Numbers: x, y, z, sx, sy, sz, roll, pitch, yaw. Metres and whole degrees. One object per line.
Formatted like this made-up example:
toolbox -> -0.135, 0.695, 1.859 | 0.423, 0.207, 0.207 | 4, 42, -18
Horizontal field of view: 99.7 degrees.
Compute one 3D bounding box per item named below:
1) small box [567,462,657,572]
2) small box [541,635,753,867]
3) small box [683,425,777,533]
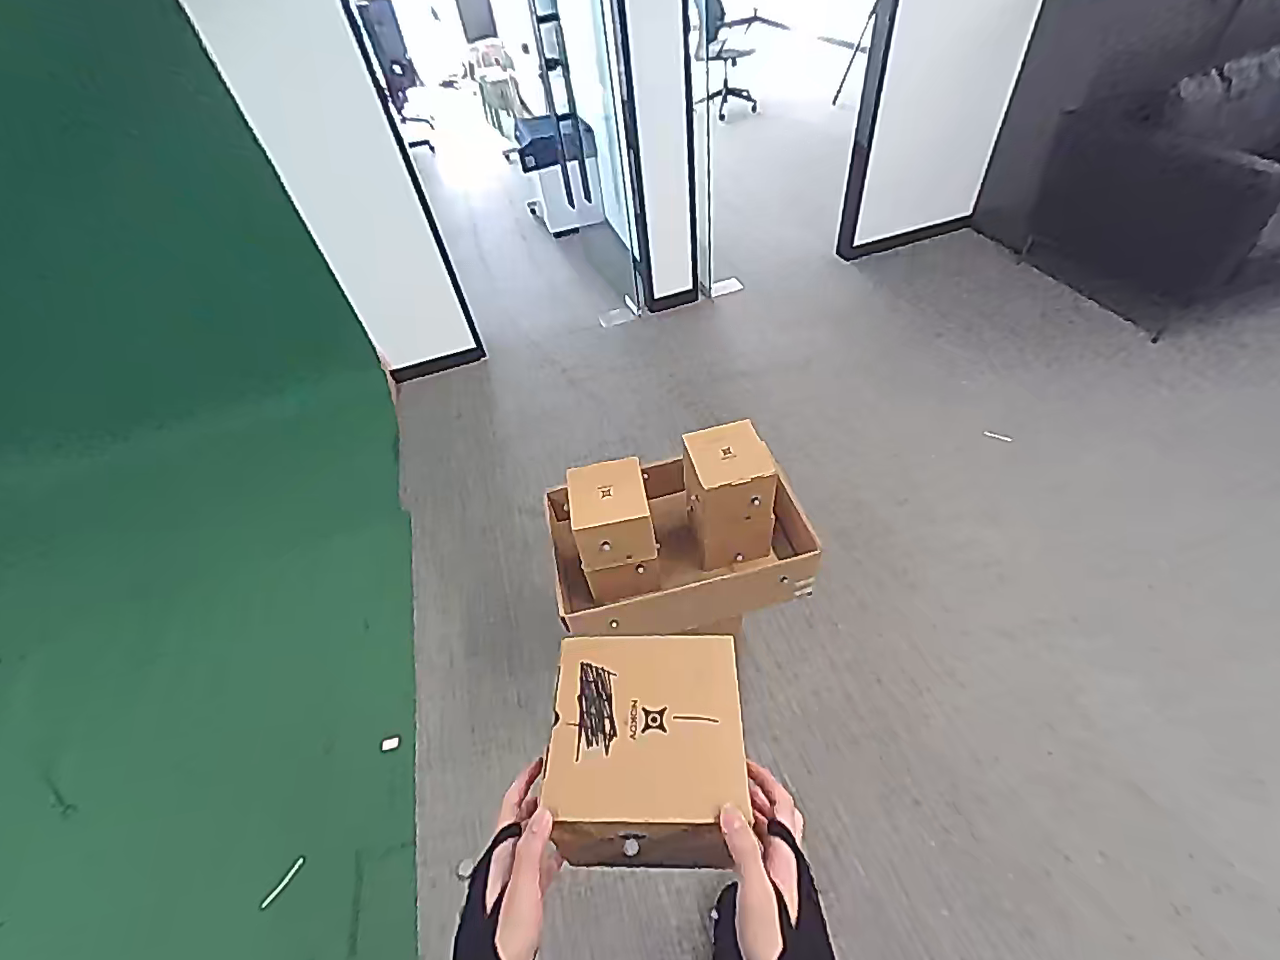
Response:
small box -> -0.061, 0.090, 1.213 | 0.168, 0.176, 0.179 | -11, 47, -2
small box -> 0.014, 0.273, 0.544 | 0.179, 0.176, 0.168 | -1, 44, 4
small box -> 0.203, 0.005, 1.248 | 0.168, 0.176, 0.179 | -12, 48, -4
